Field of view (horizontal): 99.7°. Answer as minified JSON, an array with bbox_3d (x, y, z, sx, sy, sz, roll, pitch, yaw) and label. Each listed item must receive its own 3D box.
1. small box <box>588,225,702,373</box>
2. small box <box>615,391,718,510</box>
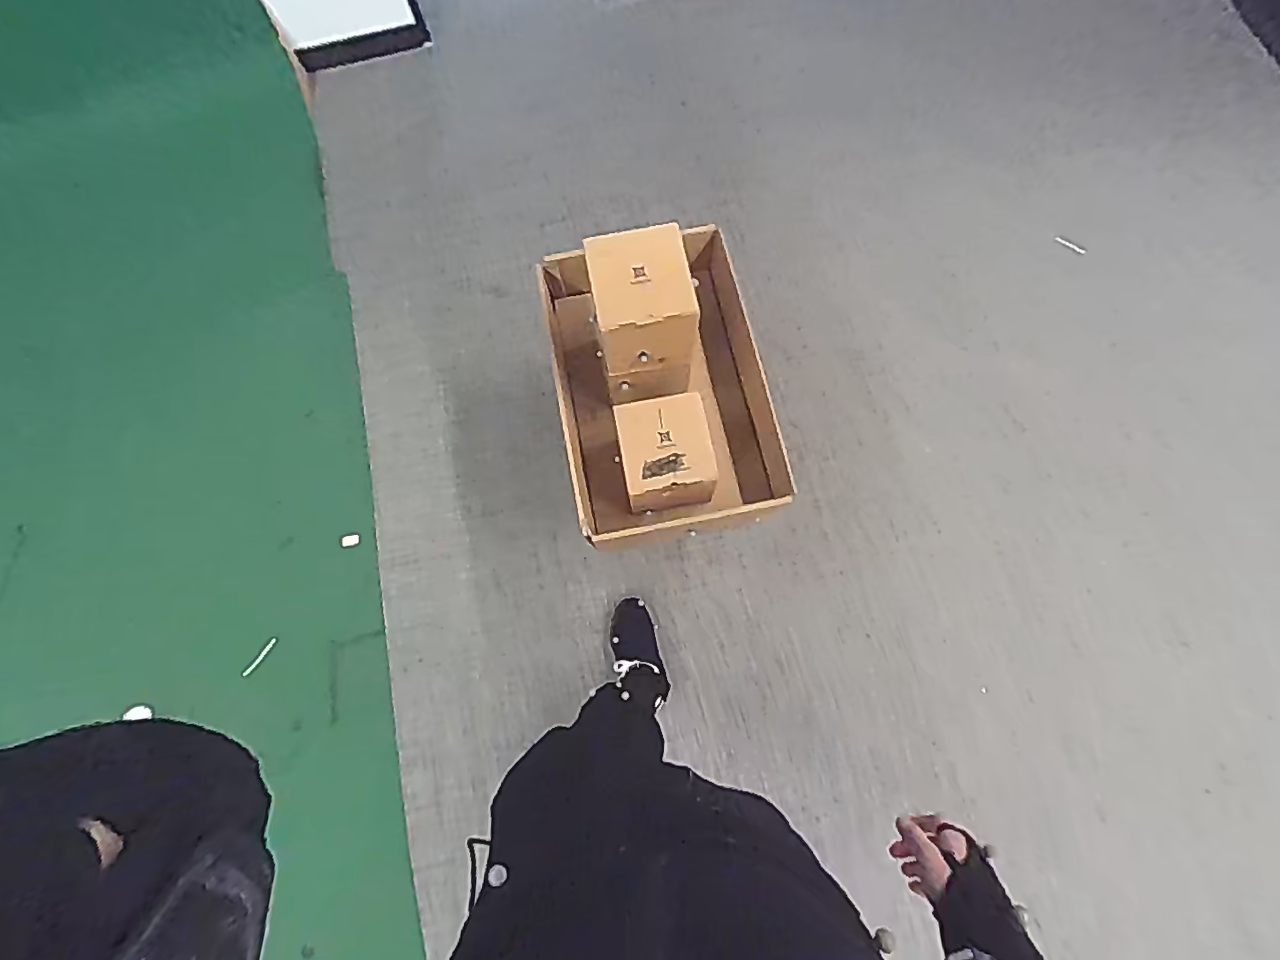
[{"bbox_3d":[0.006,-0.315,0.965,0.168,0.176,0.179,-11,76,-2],"label":"small box"},{"bbox_3d":[0.050,-0.048,1.052,0.168,0.176,0.179,-10,73,-1],"label":"small box"}]
